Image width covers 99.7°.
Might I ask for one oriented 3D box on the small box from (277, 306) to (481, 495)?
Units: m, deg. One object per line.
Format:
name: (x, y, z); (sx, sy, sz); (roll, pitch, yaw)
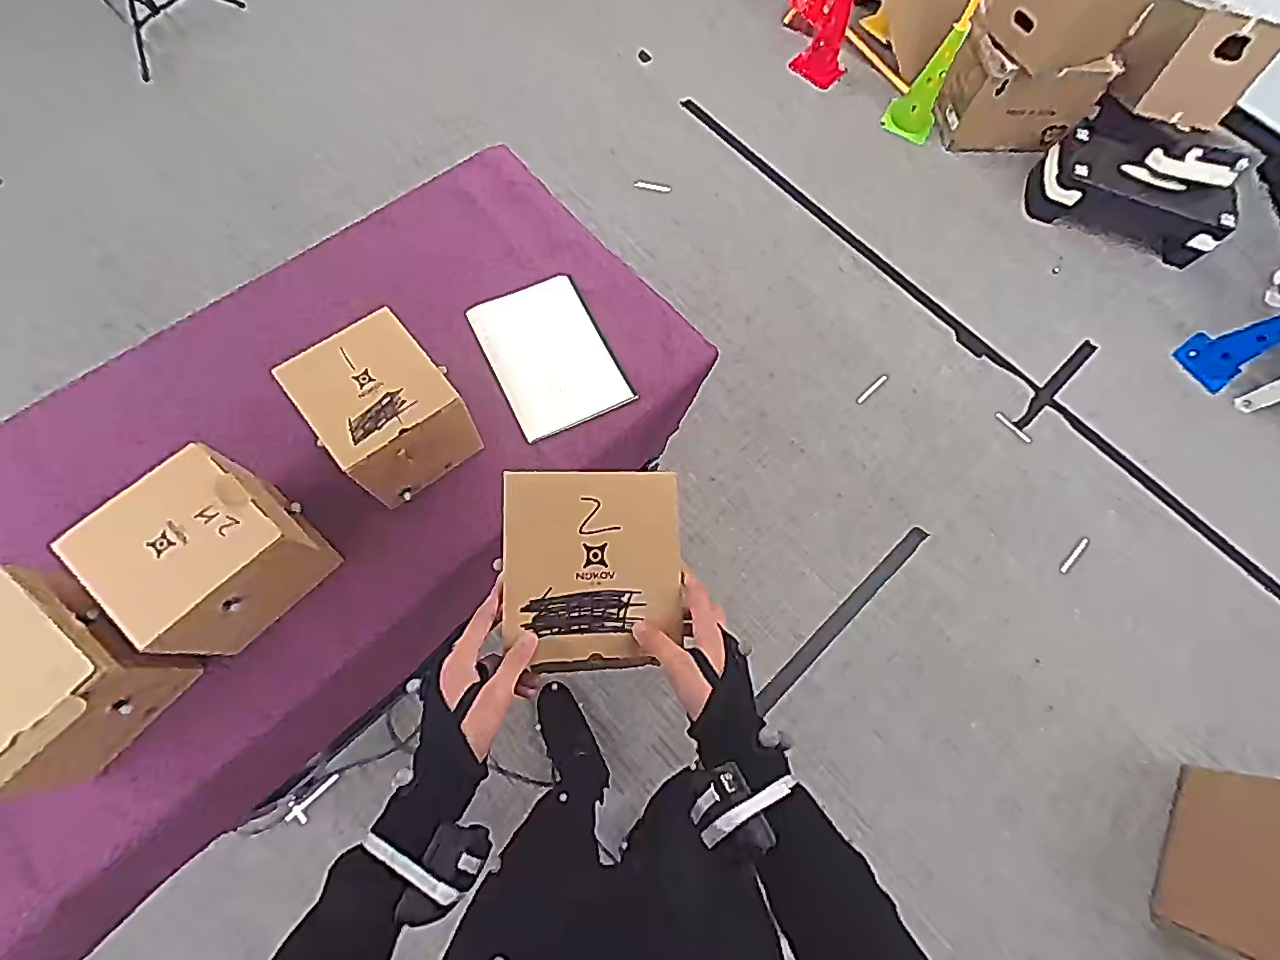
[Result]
small box: (-0.347, -0.097, 0.757); (0.168, 0.176, 0.179); (-37, 77, -16)

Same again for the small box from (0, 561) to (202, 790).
small box: (-0.669, 0.220, 0.618); (0.179, 0.176, 0.168); (39, 71, 8)
